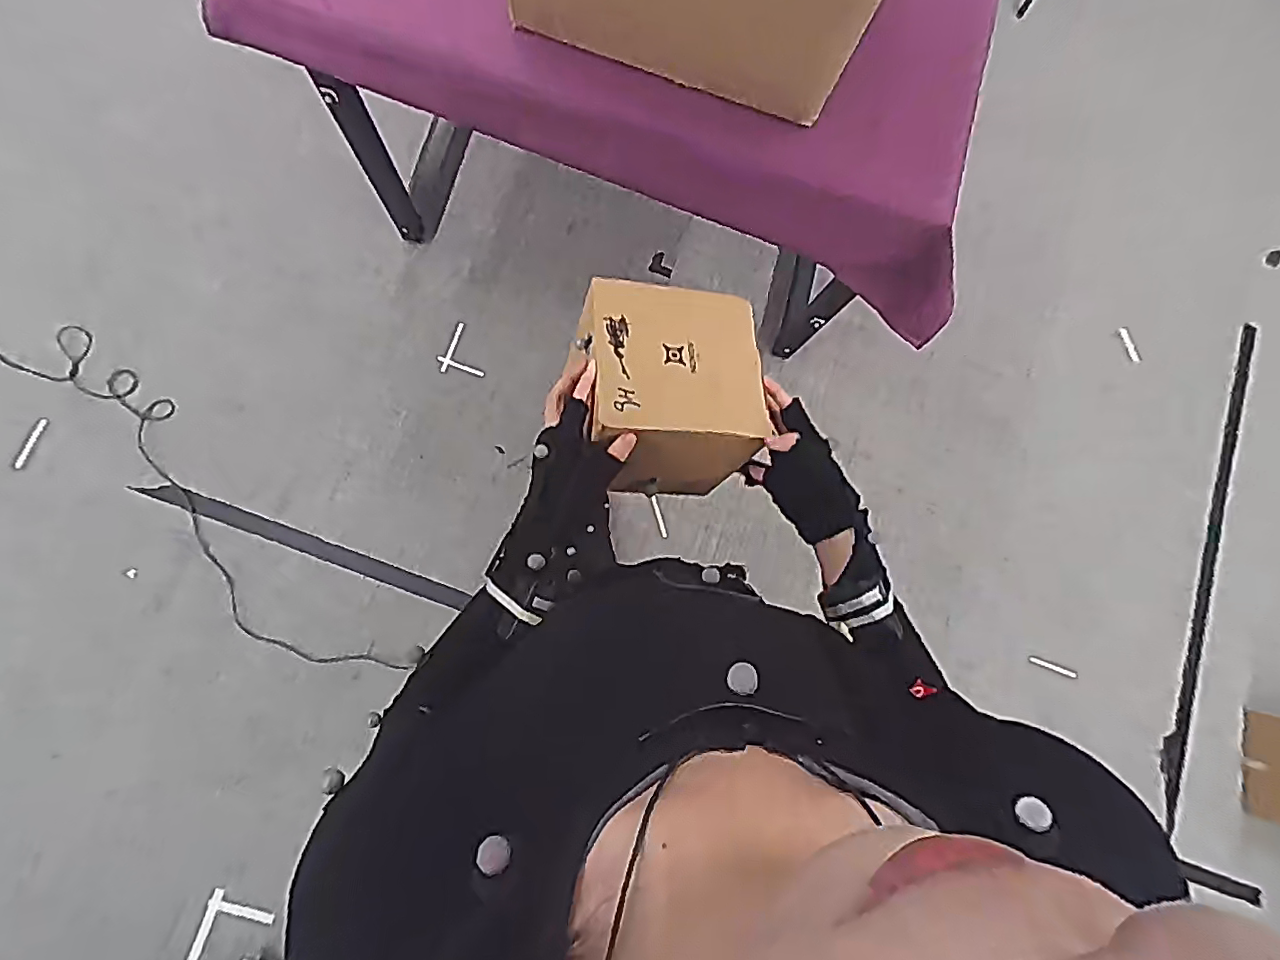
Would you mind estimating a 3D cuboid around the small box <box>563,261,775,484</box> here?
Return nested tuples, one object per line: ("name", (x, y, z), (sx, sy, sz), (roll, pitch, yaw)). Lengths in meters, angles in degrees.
("small box", (0.018, -0.102, 0.587), (0.179, 0.176, 0.168), (3, 67, -17))
